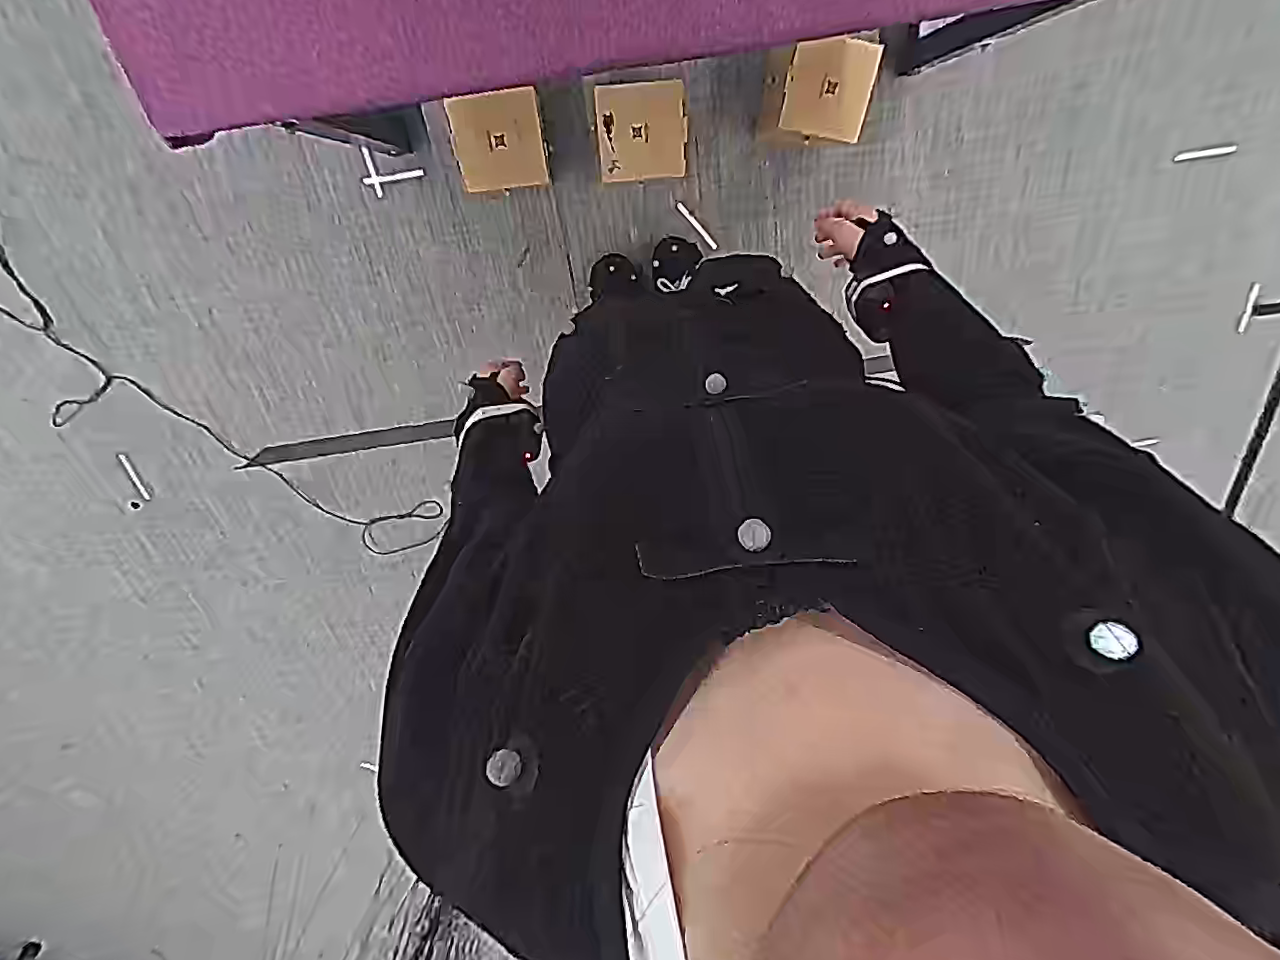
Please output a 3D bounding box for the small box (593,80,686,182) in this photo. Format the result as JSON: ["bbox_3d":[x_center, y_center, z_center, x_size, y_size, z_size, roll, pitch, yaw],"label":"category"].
[{"bbox_3d":[-0.004,-0.729,1.142,0.179,0.176,0.168,-6,118,-3],"label":"small box"}]

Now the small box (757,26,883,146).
[{"bbox_3d":[0.367,-0.813,1.136,0.179,0.176,0.168,6,117,-8],"label":"small box"}]
